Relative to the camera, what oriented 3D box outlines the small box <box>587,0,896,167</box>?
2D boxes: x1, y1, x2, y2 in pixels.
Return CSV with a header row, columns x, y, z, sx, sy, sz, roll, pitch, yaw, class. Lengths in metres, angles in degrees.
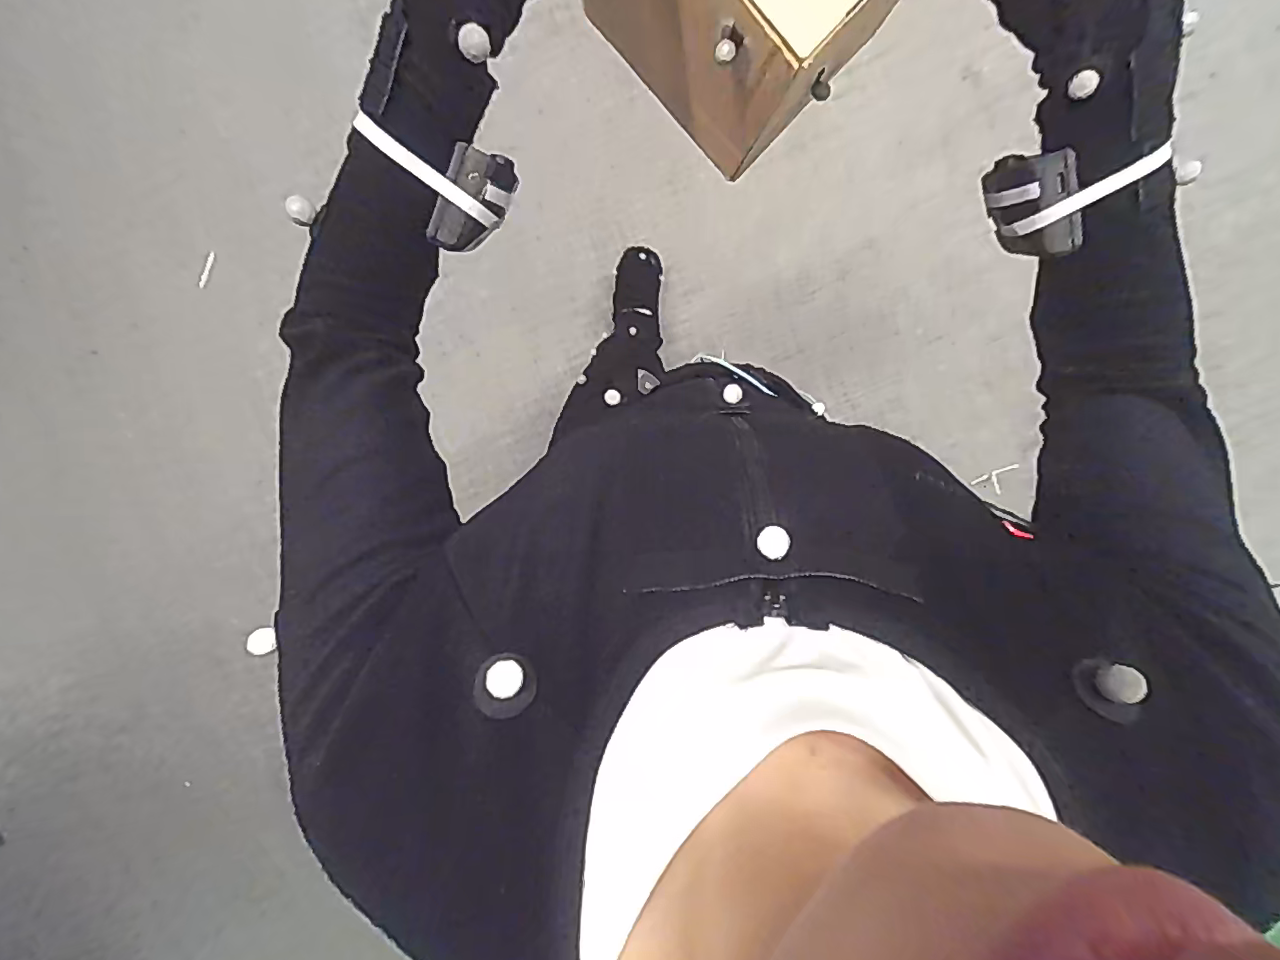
x,y,z,sx,sy,sz,roll,pitch,yaw,class
0.075,-0.354,0.354,0.168,0.176,0.179,-45,100,4,small box
